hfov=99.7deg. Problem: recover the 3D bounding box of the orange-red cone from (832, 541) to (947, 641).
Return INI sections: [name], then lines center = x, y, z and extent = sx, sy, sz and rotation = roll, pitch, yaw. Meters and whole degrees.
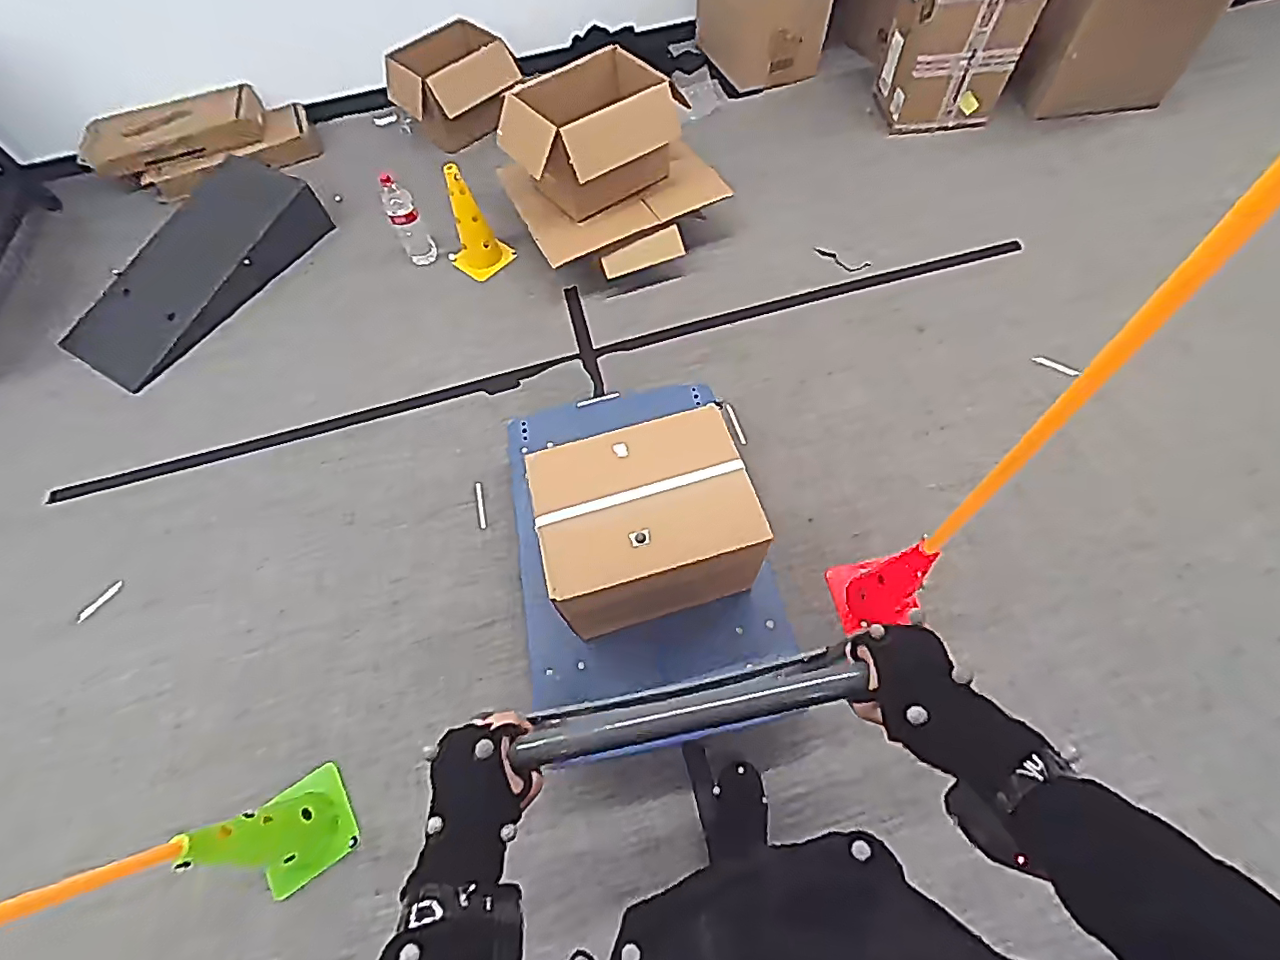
[orange-red cone]
center = 0.589, 0.216, 1.204
extent = 0.199, 0.360, 0.198
rotation = -9, 62, -1
